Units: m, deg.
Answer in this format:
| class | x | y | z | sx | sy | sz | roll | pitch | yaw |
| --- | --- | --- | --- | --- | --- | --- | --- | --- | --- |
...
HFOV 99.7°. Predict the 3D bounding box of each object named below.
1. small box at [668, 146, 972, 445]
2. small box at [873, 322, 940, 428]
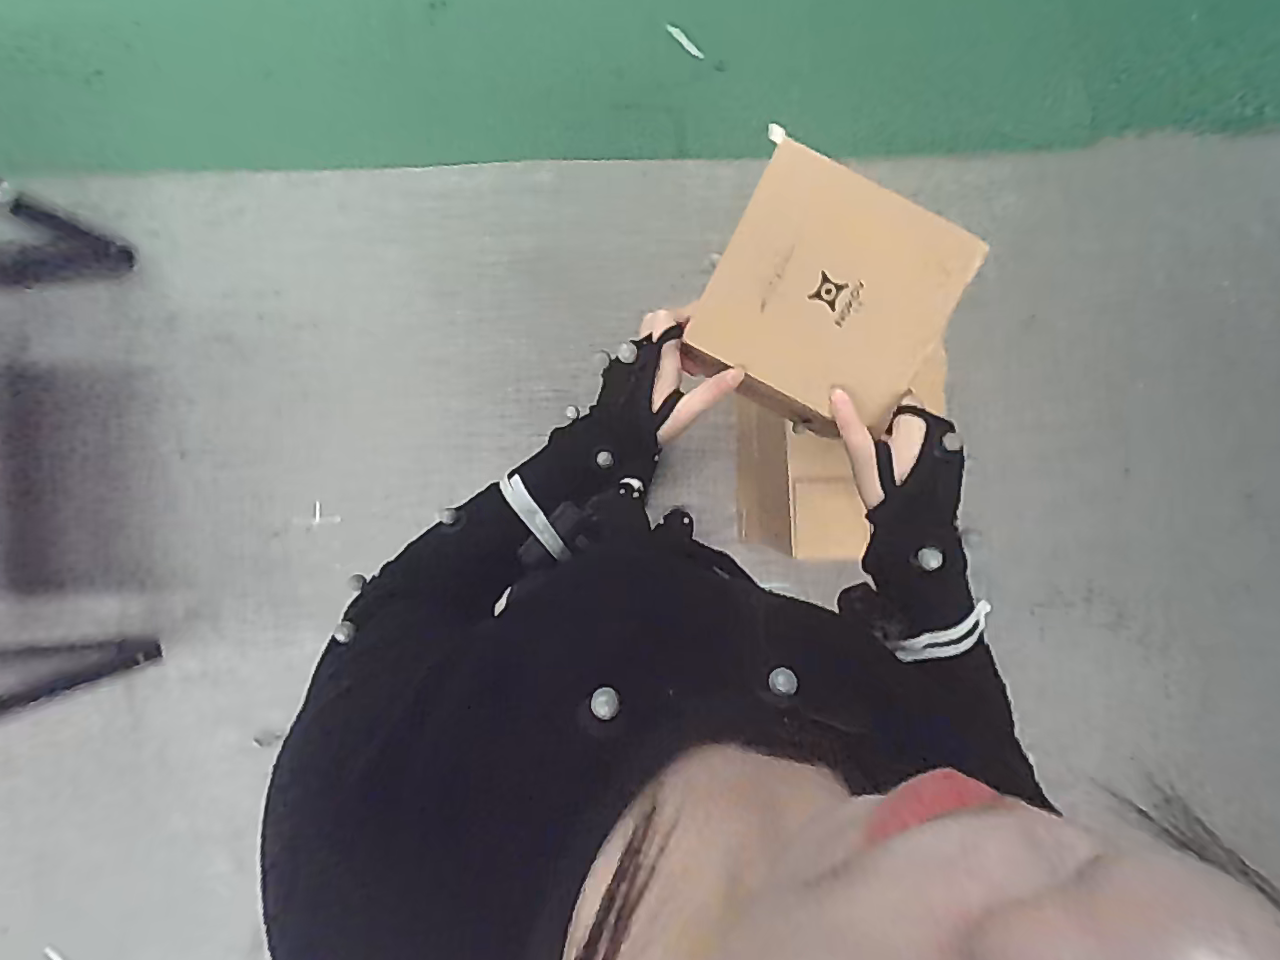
| class | x | y | z | sx | sy | sz | roll | pitch | yaw |
| --- | --- | --- | --- | --- | --- | --- | --- | --- | --- |
| small box | 0.139 | -0.148 | 0.489 | 0.179 | 0.176 | 0.168 | 28 | 97 | -1 |
| small box | 0.415 | -0.183 | 0.982 | 0.179 | 0.176 | 0.168 | 0 | 90 | 0 |
